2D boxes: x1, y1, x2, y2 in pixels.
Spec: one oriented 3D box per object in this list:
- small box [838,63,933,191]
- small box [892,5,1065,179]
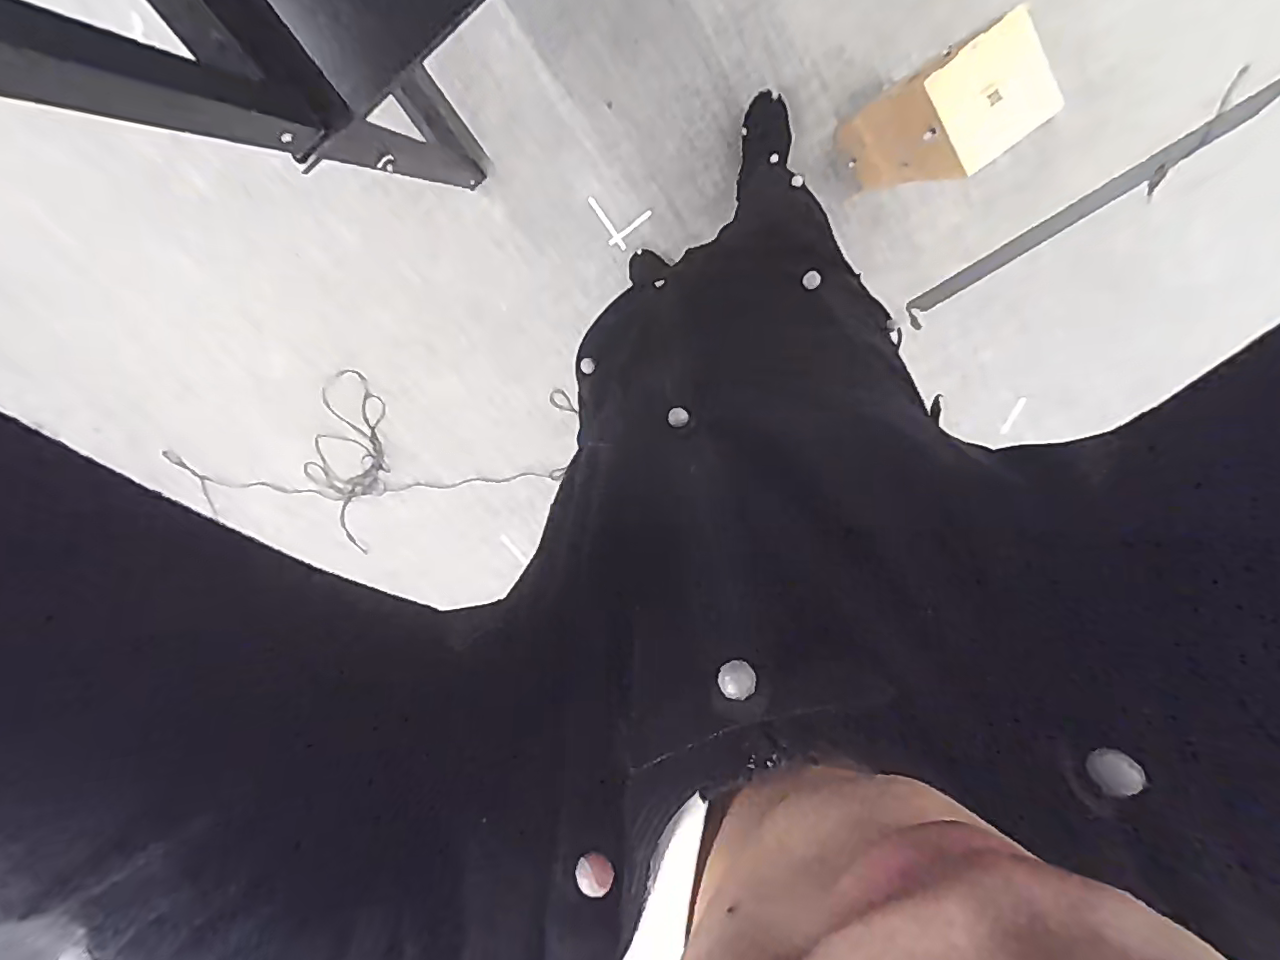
[{"bbox_3d":[0.588,-0.796,1.241,0.179,0.176,0.168,-33,108,17],"label":"small box"},{"bbox_3d":[0.578,-0.657,0.945,0.168,0.176,0.179,-35,108,17],"label":"small box"}]
